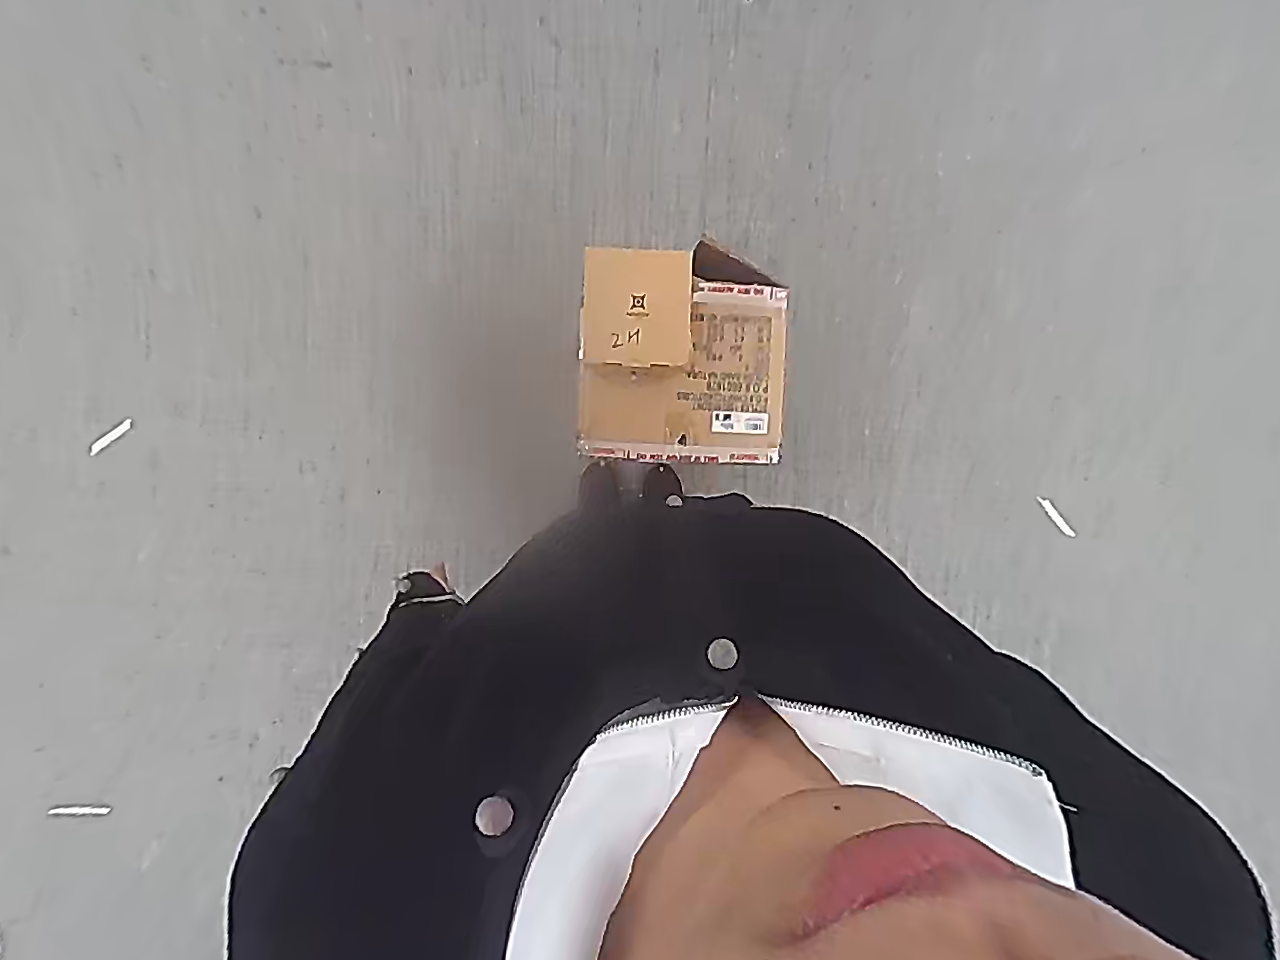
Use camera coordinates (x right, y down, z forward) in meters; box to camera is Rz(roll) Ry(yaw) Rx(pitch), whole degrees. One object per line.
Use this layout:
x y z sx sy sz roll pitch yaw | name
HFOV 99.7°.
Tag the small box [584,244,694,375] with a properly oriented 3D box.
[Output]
-0.006 -0.274 0.903 0.168 0.176 0.179 1 97 -2 | small box
